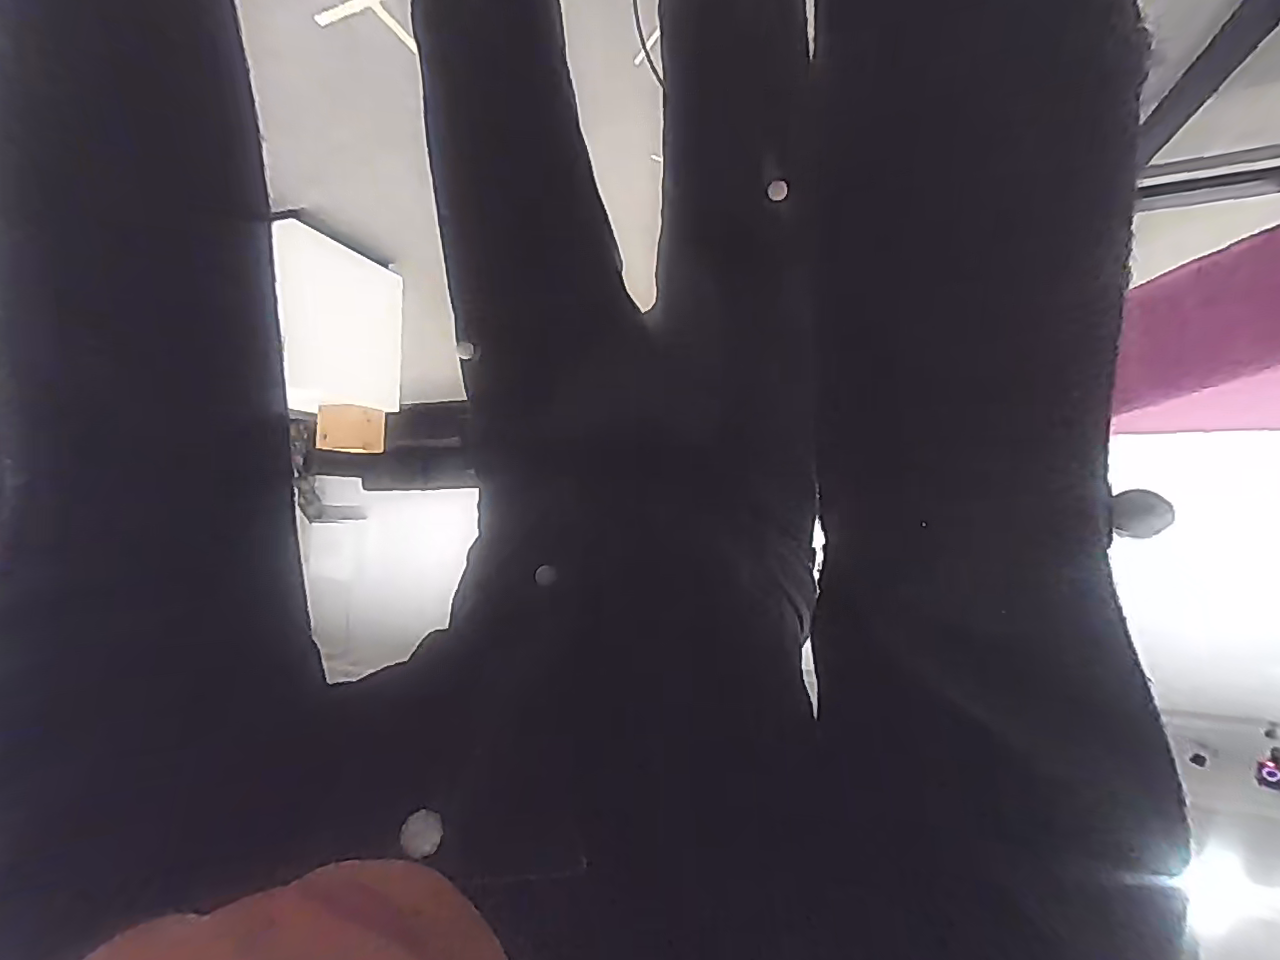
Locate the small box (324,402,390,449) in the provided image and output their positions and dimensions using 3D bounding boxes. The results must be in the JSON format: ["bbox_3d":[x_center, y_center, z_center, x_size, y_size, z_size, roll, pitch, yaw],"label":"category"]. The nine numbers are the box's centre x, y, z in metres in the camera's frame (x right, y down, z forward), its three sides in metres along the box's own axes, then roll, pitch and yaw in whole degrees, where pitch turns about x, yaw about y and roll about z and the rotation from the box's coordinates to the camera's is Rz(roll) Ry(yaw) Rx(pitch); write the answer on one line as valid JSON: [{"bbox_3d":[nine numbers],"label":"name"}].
[{"bbox_3d":[-1.124,-0.215,2.159,0.179,0.176,0.168,1,179,19],"label":"small box"}]
